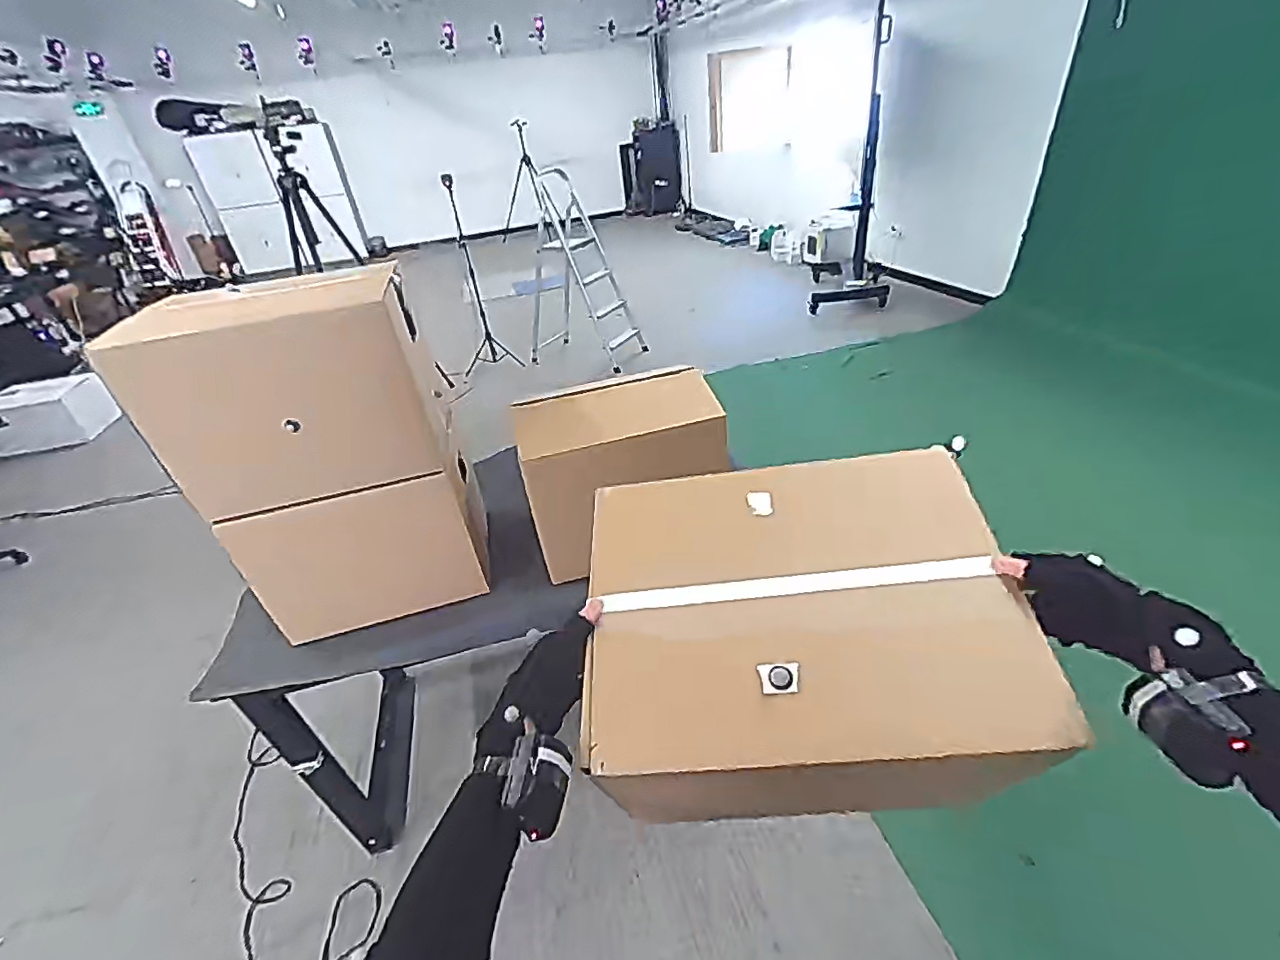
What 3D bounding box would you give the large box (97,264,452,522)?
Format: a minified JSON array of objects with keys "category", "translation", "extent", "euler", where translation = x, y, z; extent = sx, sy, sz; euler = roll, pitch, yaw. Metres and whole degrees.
[{"category":"large box","translation":[-0.589,-0.172,0.985],"extent":[0.408,0.320,0.320],"euler":[-14,34,-10]}]
